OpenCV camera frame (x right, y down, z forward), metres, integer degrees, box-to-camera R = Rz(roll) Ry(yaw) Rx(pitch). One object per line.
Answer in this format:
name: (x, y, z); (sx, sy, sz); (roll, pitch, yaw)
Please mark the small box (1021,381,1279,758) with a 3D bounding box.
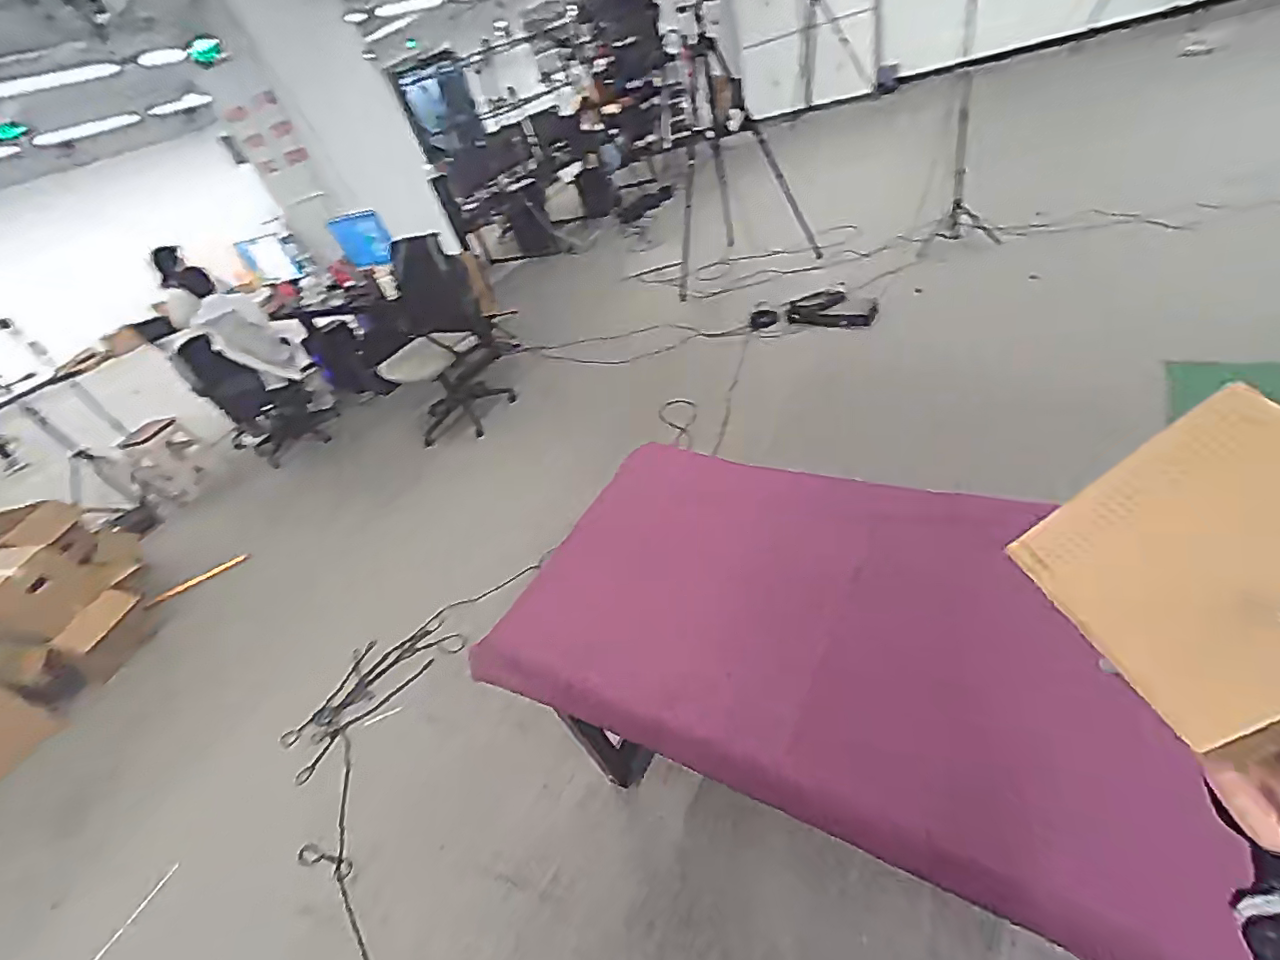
small box: (0.411, 0.066, 0.373); (0.179, 0.168, 0.176); (-52, 36, 28)
